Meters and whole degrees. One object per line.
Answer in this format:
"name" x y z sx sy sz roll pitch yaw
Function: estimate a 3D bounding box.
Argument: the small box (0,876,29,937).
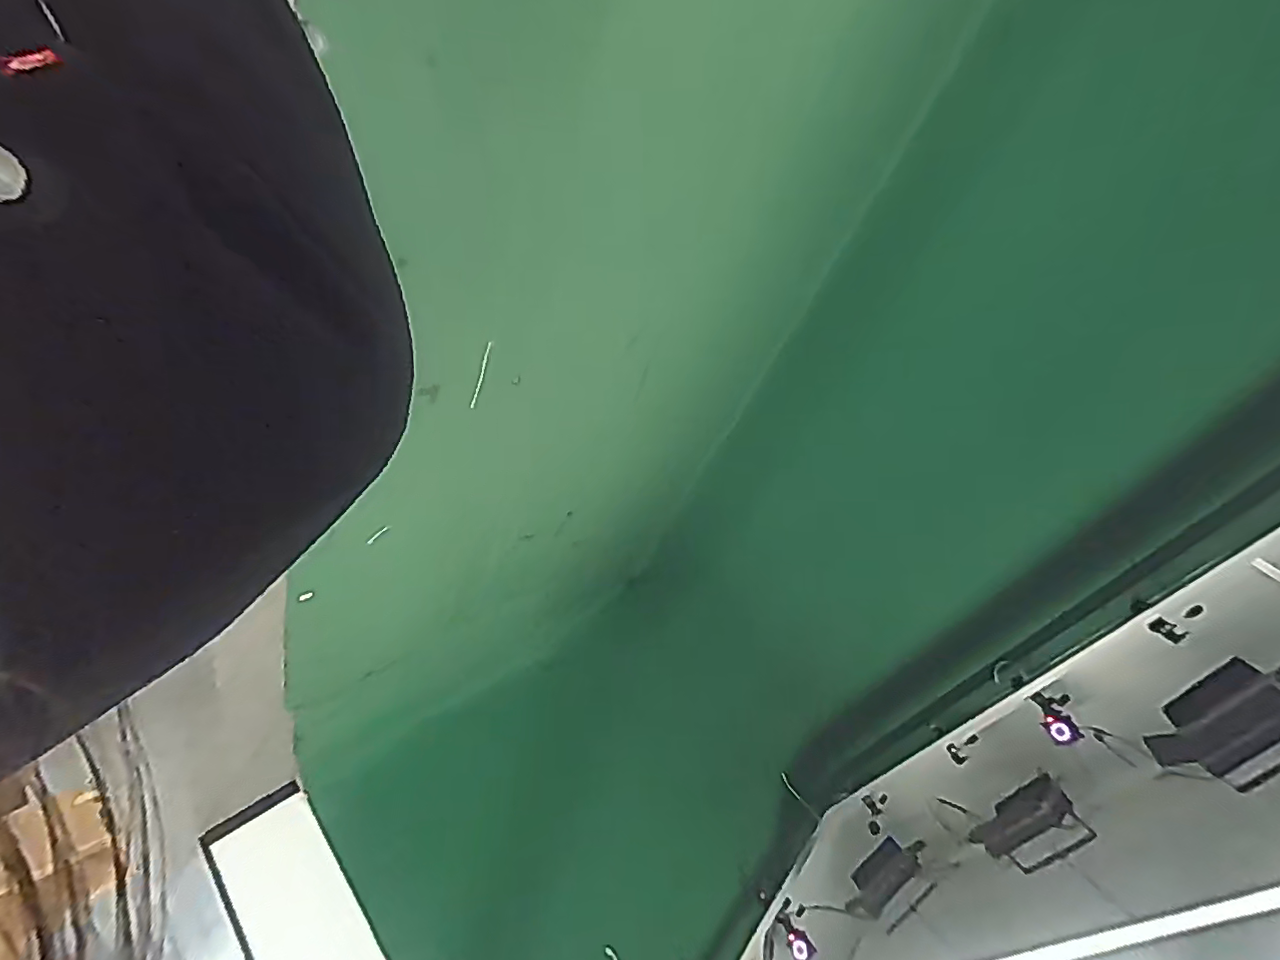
"small box" -1.726 1.139 1.375 0.168 0.176 0.179 -28 153 -41

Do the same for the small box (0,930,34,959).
"small box" -1.618 1.248 1.317 0.168 0.176 0.179 -26 151 -42
